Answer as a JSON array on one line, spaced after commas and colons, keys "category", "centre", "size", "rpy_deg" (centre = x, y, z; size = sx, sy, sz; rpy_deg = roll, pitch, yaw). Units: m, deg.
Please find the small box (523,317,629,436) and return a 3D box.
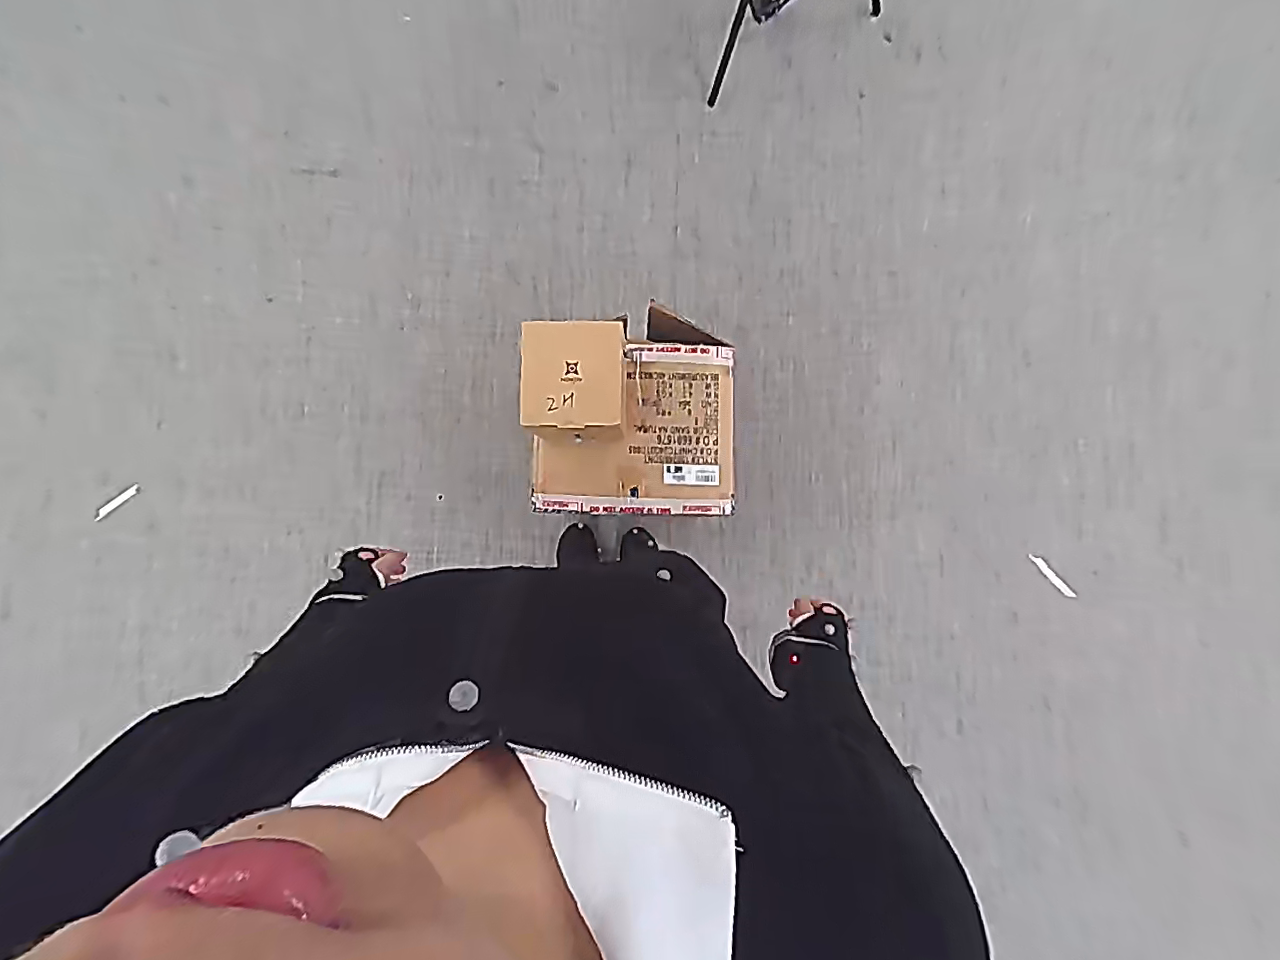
[{"category": "small box", "centre": [-0.107, -0.176, 0.959], "size": [0.168, 0.176, 0.179], "rpy_deg": [0, 88, 1]}]
